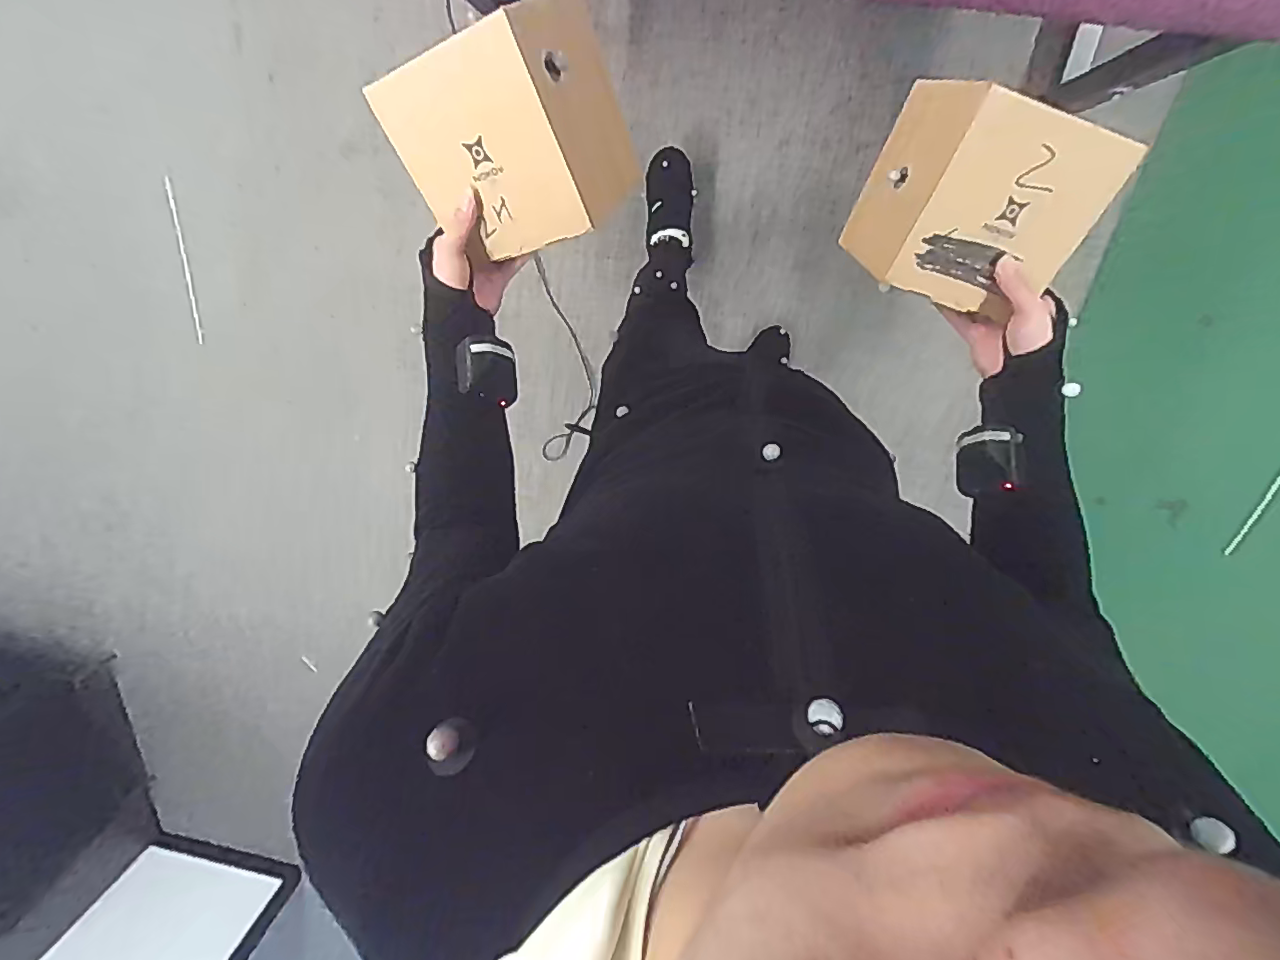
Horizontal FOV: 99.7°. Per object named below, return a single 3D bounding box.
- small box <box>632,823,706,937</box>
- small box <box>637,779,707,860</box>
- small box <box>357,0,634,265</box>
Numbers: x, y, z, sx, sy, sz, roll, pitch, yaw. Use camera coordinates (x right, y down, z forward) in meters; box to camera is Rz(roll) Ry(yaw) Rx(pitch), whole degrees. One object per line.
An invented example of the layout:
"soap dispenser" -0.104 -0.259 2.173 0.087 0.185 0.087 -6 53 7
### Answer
"small box" 0.085 1.106 1.502 0.168 0.176 0.179 14 113 4
"small box" 0.103 1.053 1.655 0.179 0.176 0.168 15 114 2
"small box" -0.125 -0.350 0.541 0.168 0.176 0.179 -3 133 27
